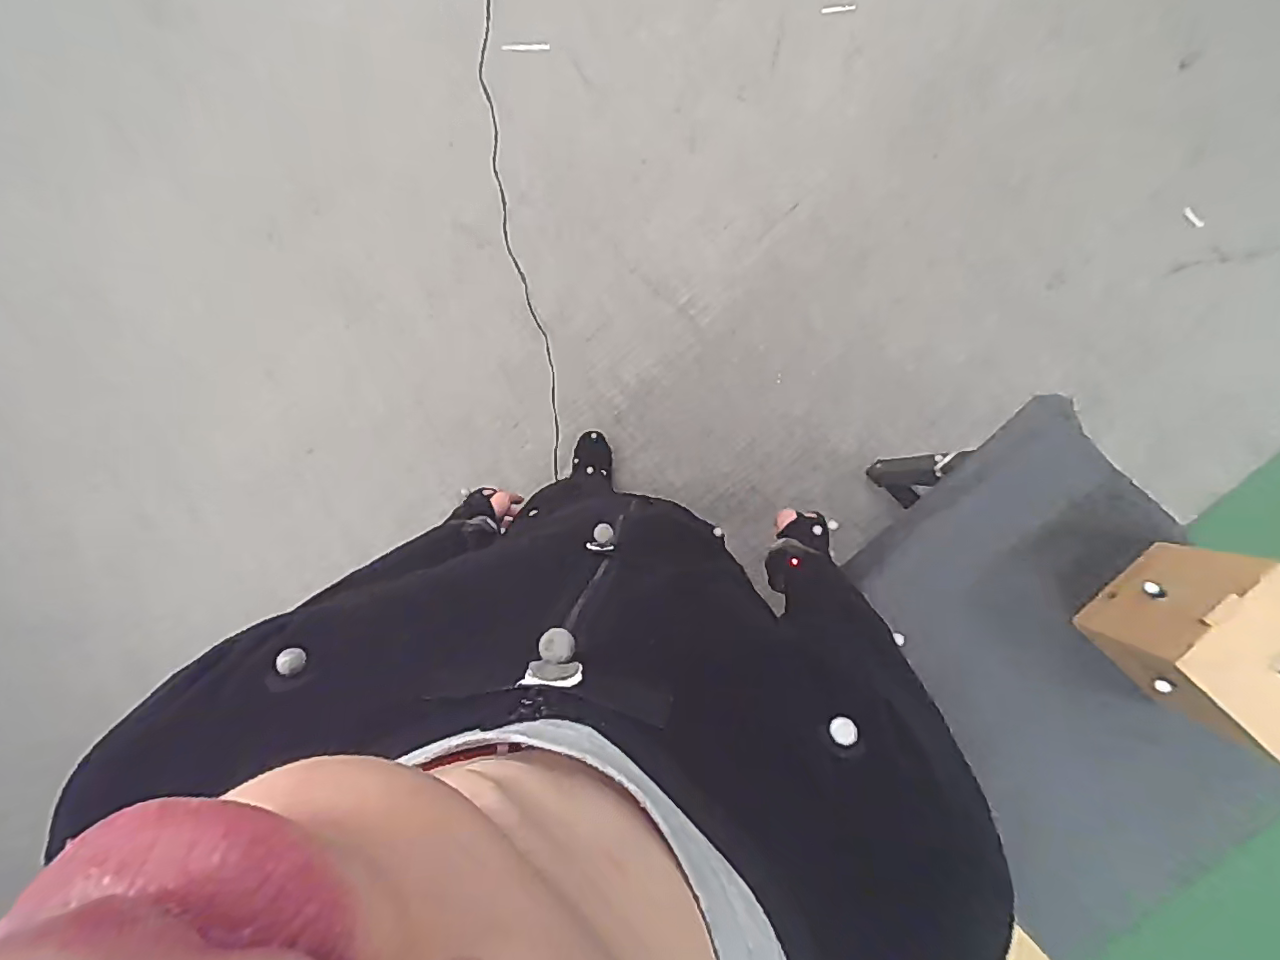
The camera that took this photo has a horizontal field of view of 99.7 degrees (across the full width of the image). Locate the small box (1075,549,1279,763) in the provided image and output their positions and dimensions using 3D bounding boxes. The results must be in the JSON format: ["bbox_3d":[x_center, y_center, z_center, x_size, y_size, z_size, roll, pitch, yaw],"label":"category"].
[{"bbox_3d":[0.721,0.203,0.685,0.179,0.176,0.168,45,95,4],"label":"small box"}]
